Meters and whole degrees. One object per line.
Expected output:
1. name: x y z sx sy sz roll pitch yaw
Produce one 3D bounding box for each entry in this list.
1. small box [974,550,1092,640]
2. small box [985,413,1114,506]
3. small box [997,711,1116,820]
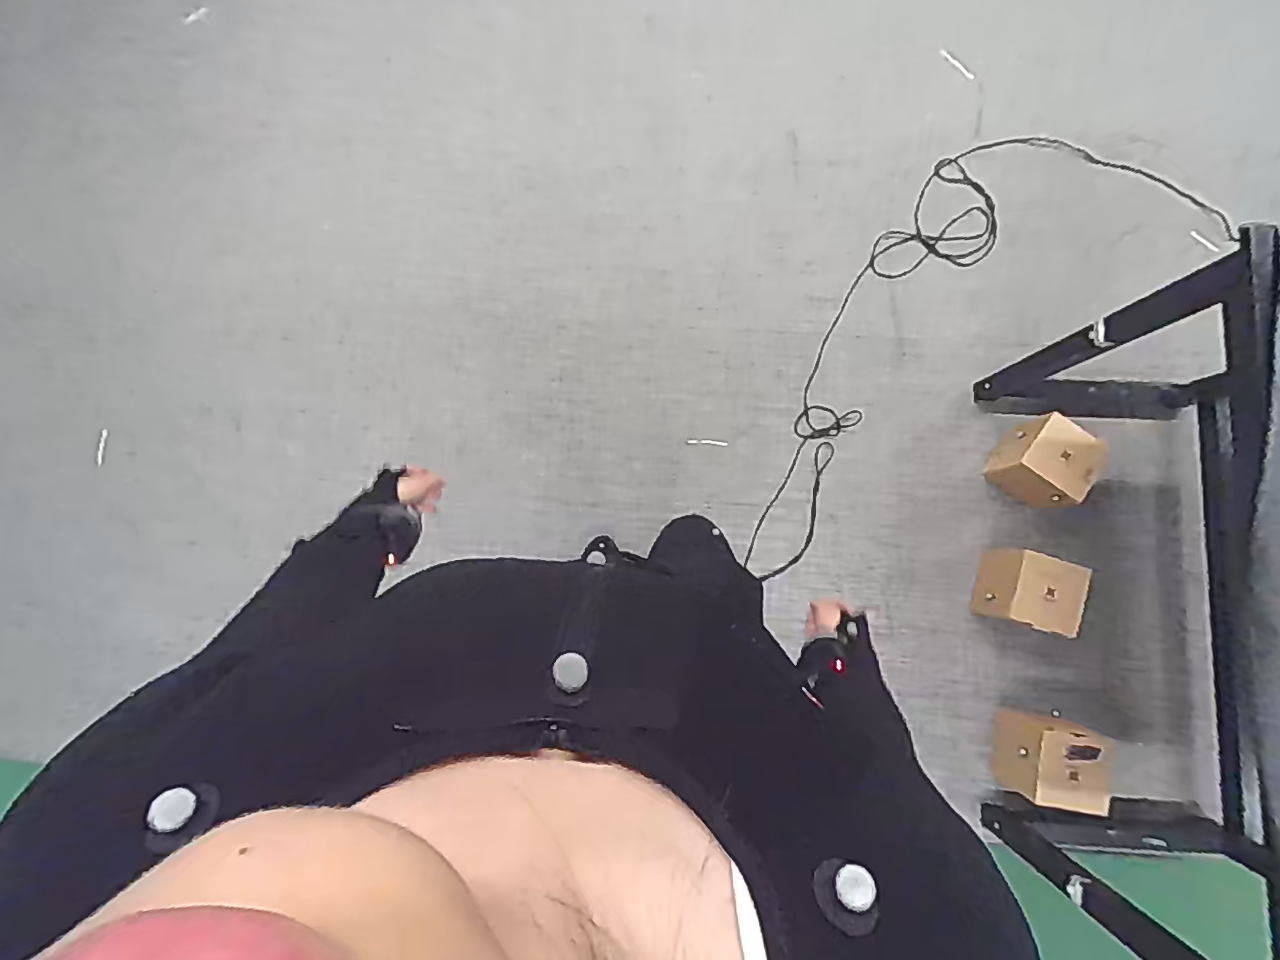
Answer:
1. small box: 0.985 0.285 1.371 0.168 0.176 0.179 17 82 3
2. small box: 1.057 -0.044 1.413 0.179 0.176 0.168 36 85 5
3. small box: 1.006 0.684 1.318 0.168 0.176 0.179 8 84 3
